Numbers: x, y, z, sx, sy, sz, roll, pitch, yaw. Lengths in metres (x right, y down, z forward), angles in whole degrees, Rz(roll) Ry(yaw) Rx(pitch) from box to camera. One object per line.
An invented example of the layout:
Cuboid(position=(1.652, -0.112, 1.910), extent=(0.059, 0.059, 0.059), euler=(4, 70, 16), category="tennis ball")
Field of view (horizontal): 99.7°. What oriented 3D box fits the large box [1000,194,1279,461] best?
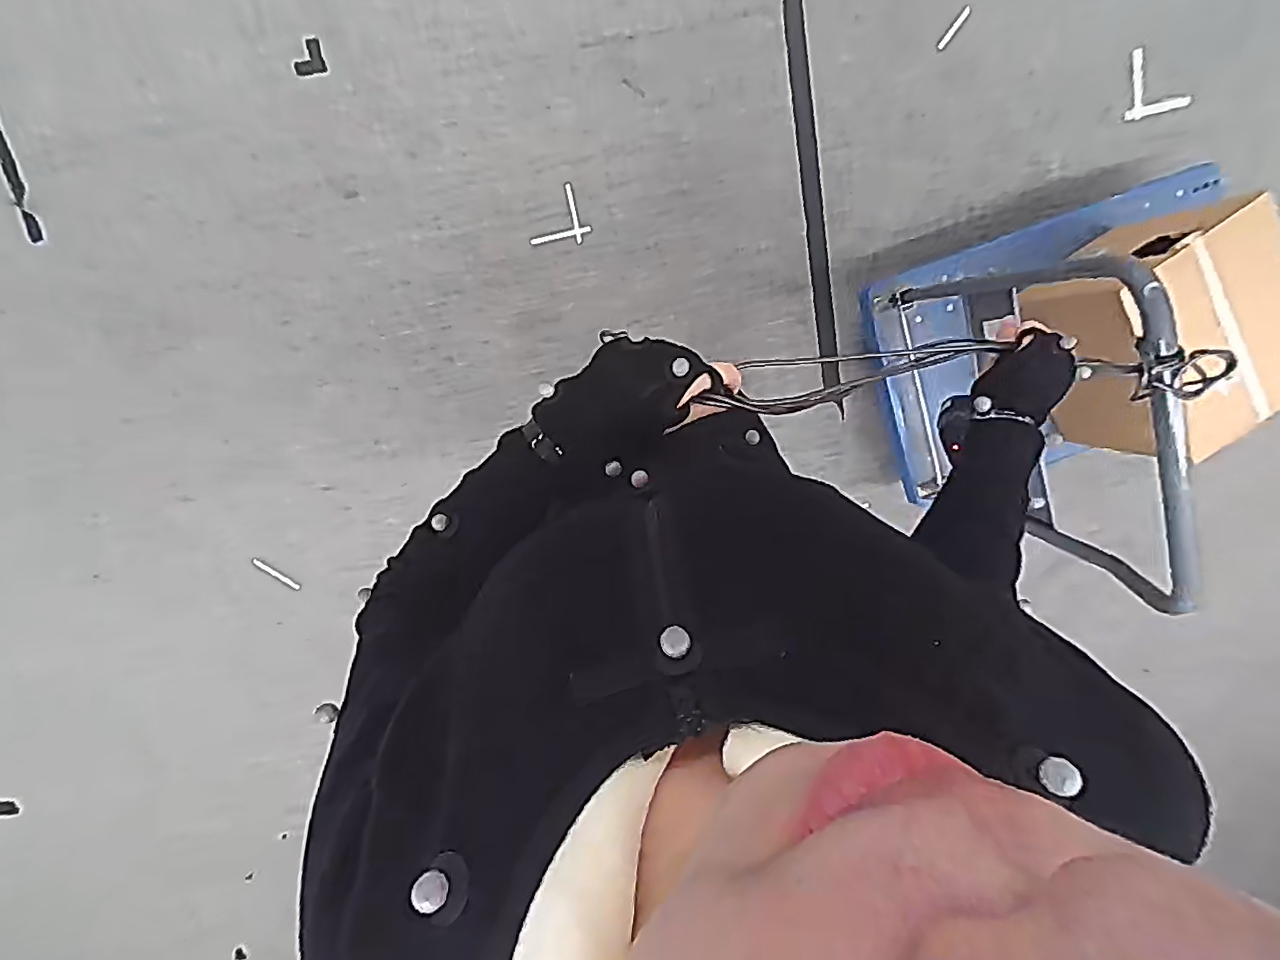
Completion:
Cuboid(position=(1.092, -0.310, 1.169), extent=(0.320, 0.320, 0.408), euler=(-35, 104, 4), category="large box")
